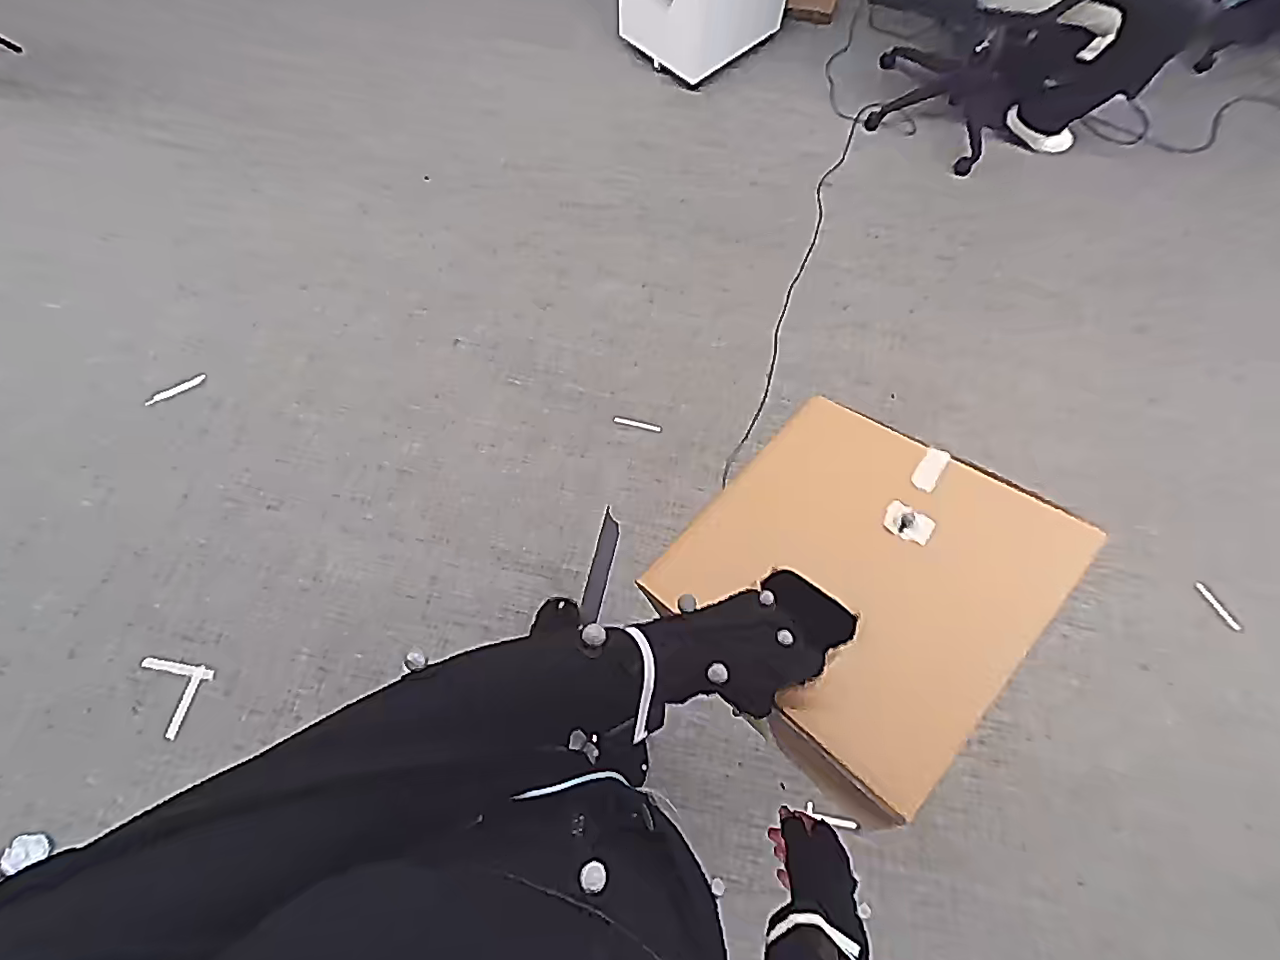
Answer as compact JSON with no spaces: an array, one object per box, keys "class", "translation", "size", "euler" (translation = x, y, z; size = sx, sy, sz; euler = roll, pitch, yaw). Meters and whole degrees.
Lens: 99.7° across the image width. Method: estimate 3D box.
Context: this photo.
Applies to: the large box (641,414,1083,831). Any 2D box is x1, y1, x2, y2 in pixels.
[{"class":"large box","translation":[0.261,0.191,0.690],"size":[0.320,0.408,0.320],"euler":[-45,55,-12]}]
